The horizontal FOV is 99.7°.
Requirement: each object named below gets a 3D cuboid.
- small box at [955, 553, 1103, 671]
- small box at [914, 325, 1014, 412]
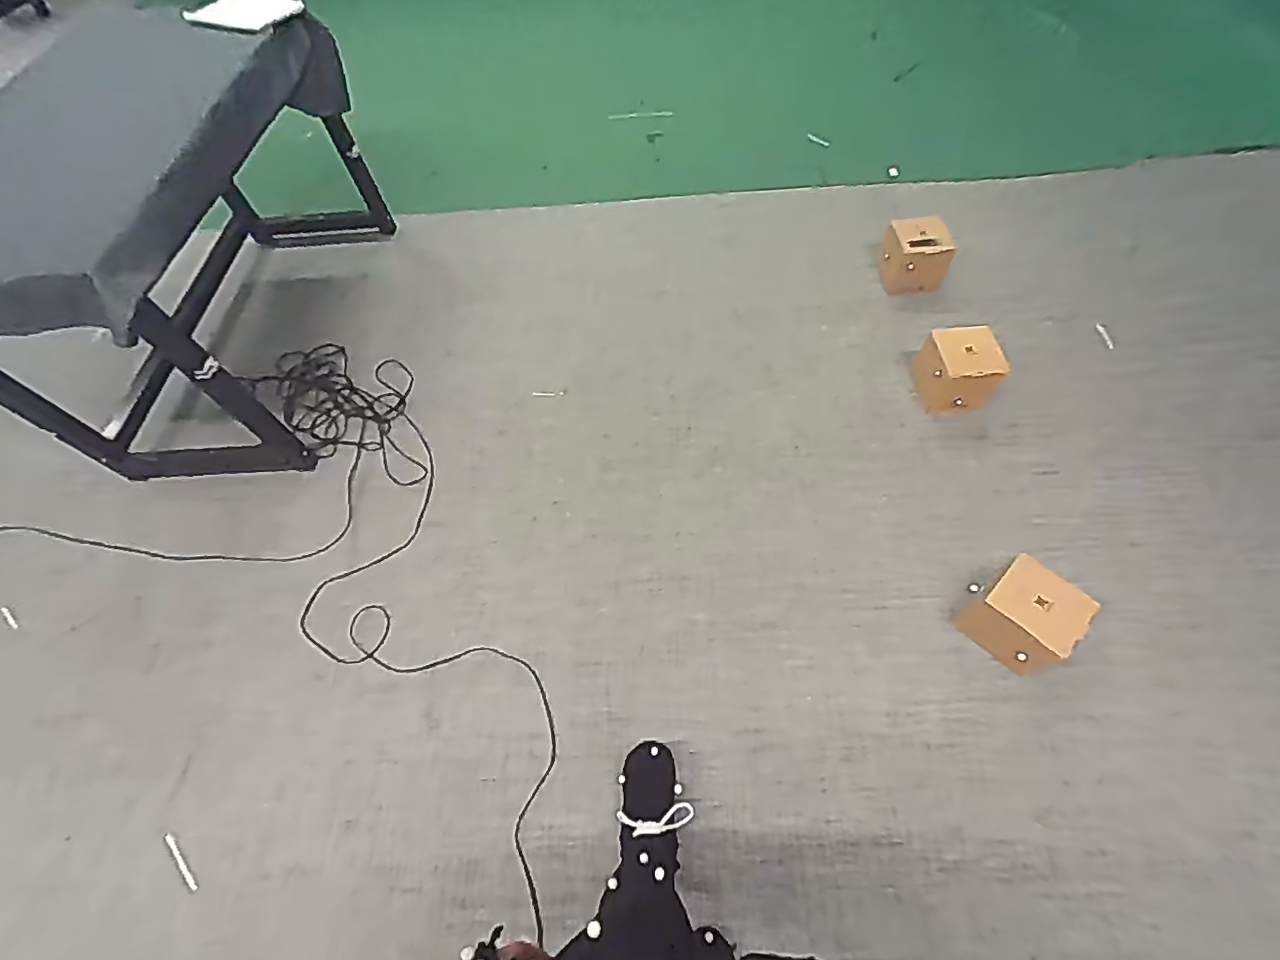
[{"bbox_3d":[0.853,0.300,1.201,0.168,0.176,0.179,-40,64,-19],"label":"small box"},{"bbox_3d":[0.918,-0.319,1.555,0.168,0.176,0.179,-4,60,1],"label":"small box"}]
